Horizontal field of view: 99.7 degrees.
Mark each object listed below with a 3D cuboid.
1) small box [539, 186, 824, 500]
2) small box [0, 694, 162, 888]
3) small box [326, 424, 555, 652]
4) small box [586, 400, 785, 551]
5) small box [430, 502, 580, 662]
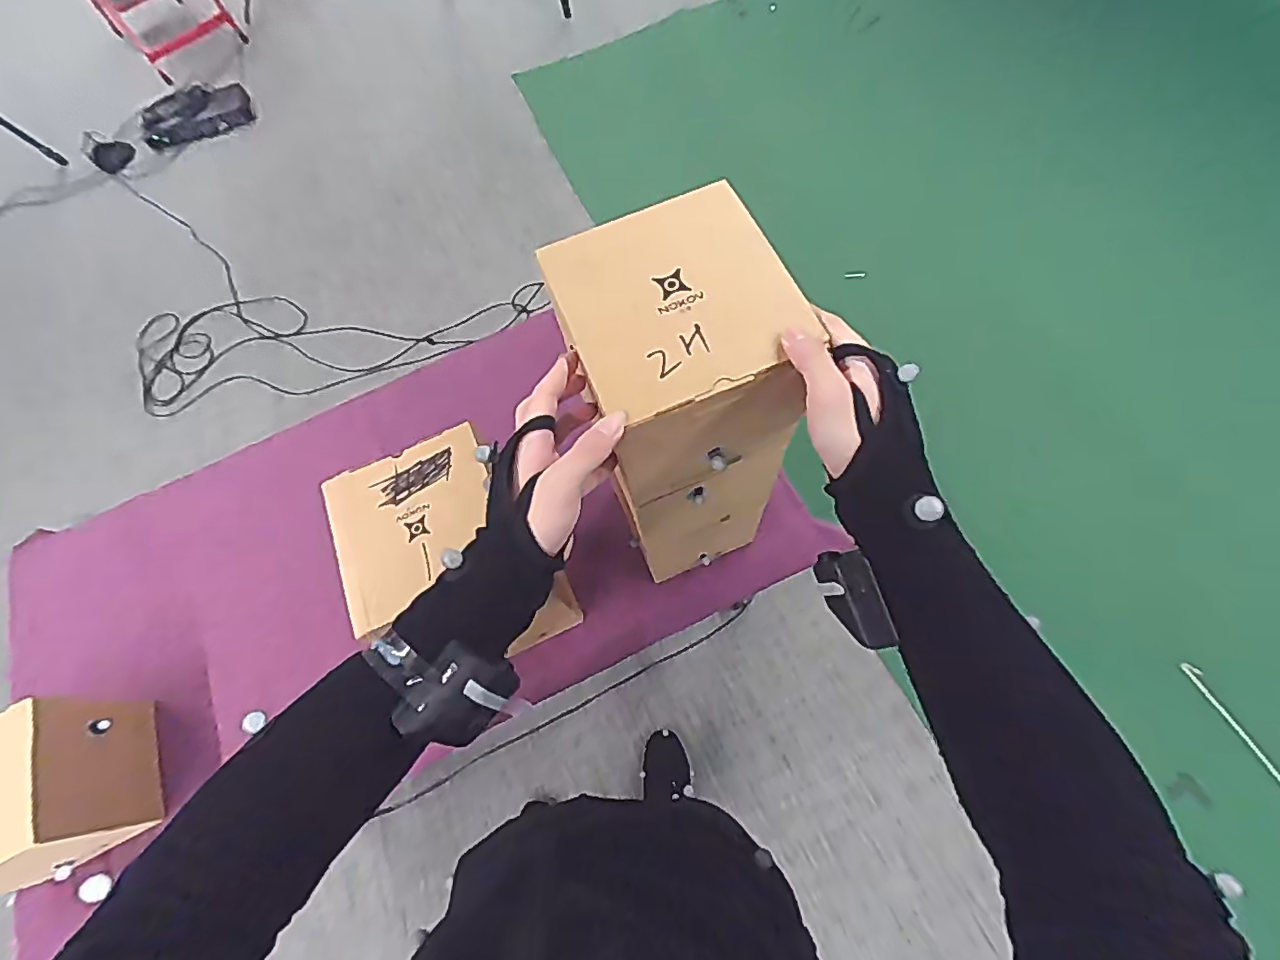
[{"bbox_3d":[0.029,-0.107,0.475,0.168,0.176,0.179,-22,70,-3],"label":"small box"},{"bbox_3d":[-0.767,0.399,0.693,0.168,0.176,0.179,-26,67,-6],"label":"small box"},{"bbox_3d":[-0.213,0.073,0.608,0.168,0.176,0.179,-24,67,-5],"label":"small box"},{"bbox_3d":[0.044,-0.042,0.630,0.168,0.176,0.179,-23,66,-4],"label":"small box"},{"bbox_3d":[-0.199,0.141,0.757,0.168,0.176,0.179,-25,66,-5],"label":"small box"}]
